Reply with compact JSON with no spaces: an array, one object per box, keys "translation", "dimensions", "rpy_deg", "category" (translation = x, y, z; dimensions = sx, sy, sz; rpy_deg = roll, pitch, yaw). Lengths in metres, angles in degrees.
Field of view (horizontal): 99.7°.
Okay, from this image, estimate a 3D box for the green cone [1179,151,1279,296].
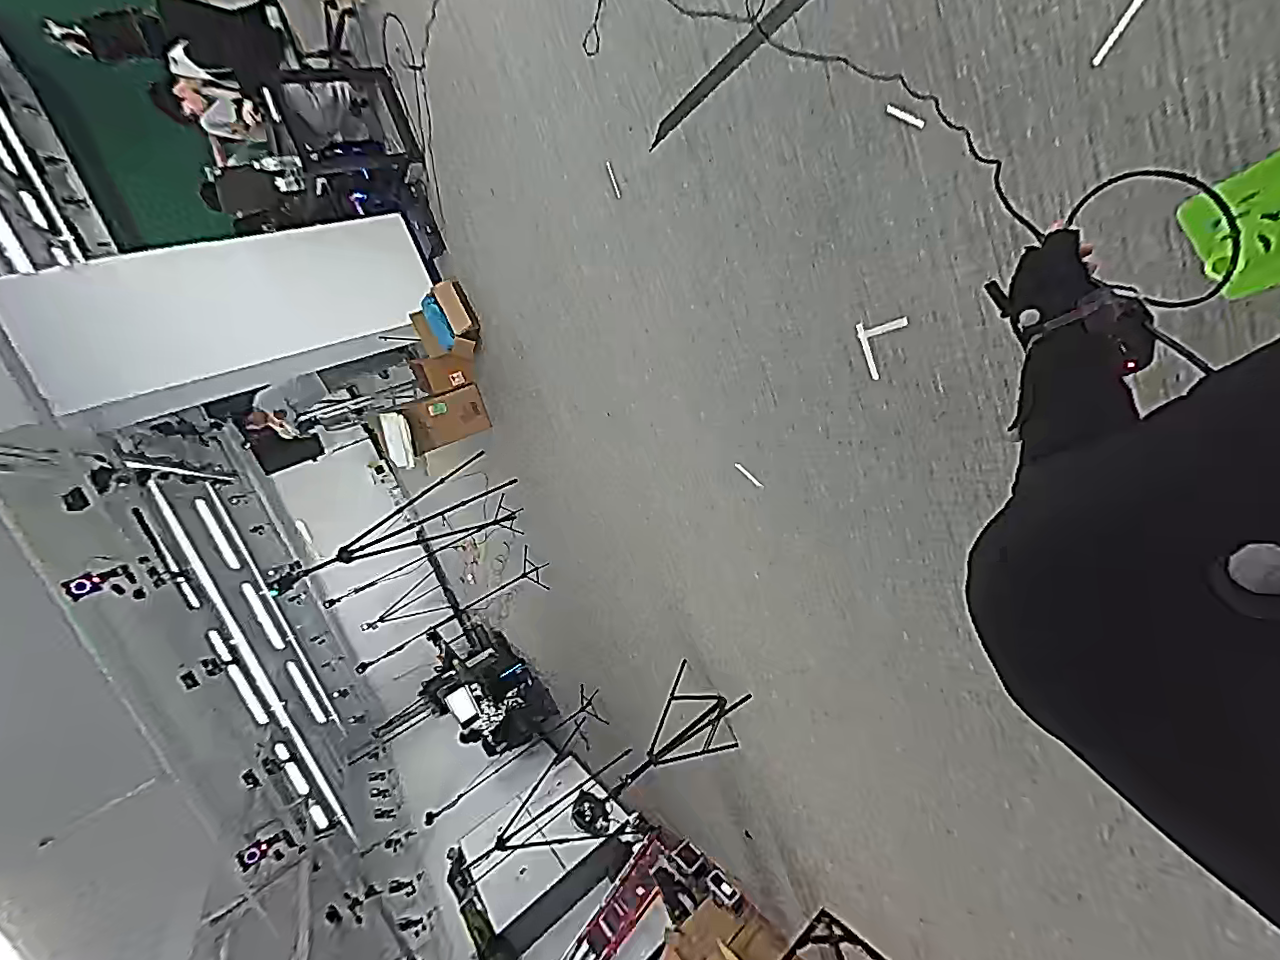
[{"translation":[0.925,-0.366,0.816],"dimensions":[0.200,0.368,0.202],"rpy_deg":[62,153,3],"category":"green cone"}]
